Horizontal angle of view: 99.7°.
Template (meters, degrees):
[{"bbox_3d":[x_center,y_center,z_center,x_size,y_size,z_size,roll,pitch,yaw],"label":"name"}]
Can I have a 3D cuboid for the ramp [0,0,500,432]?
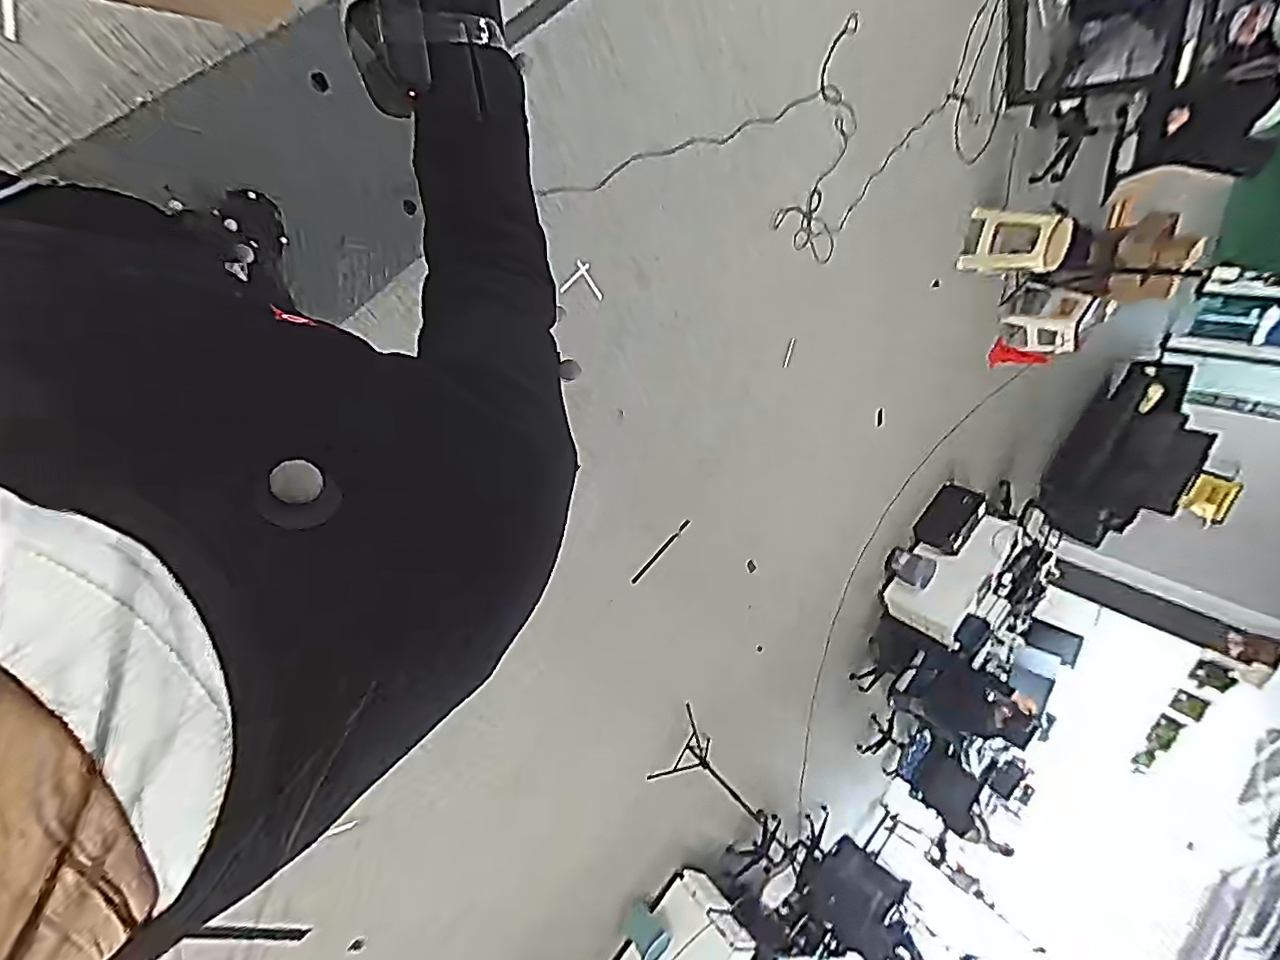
[{"bbox_3d":[-0.773,-0.624,1.199,0.991,0.206,0.509,-48,132,-13],"label":"ramp"}]

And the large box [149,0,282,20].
[{"bbox_3d":[-0.389,-0.433,0.207,0.408,0.320,0.320,-19,128,-36],"label":"large box"}]
